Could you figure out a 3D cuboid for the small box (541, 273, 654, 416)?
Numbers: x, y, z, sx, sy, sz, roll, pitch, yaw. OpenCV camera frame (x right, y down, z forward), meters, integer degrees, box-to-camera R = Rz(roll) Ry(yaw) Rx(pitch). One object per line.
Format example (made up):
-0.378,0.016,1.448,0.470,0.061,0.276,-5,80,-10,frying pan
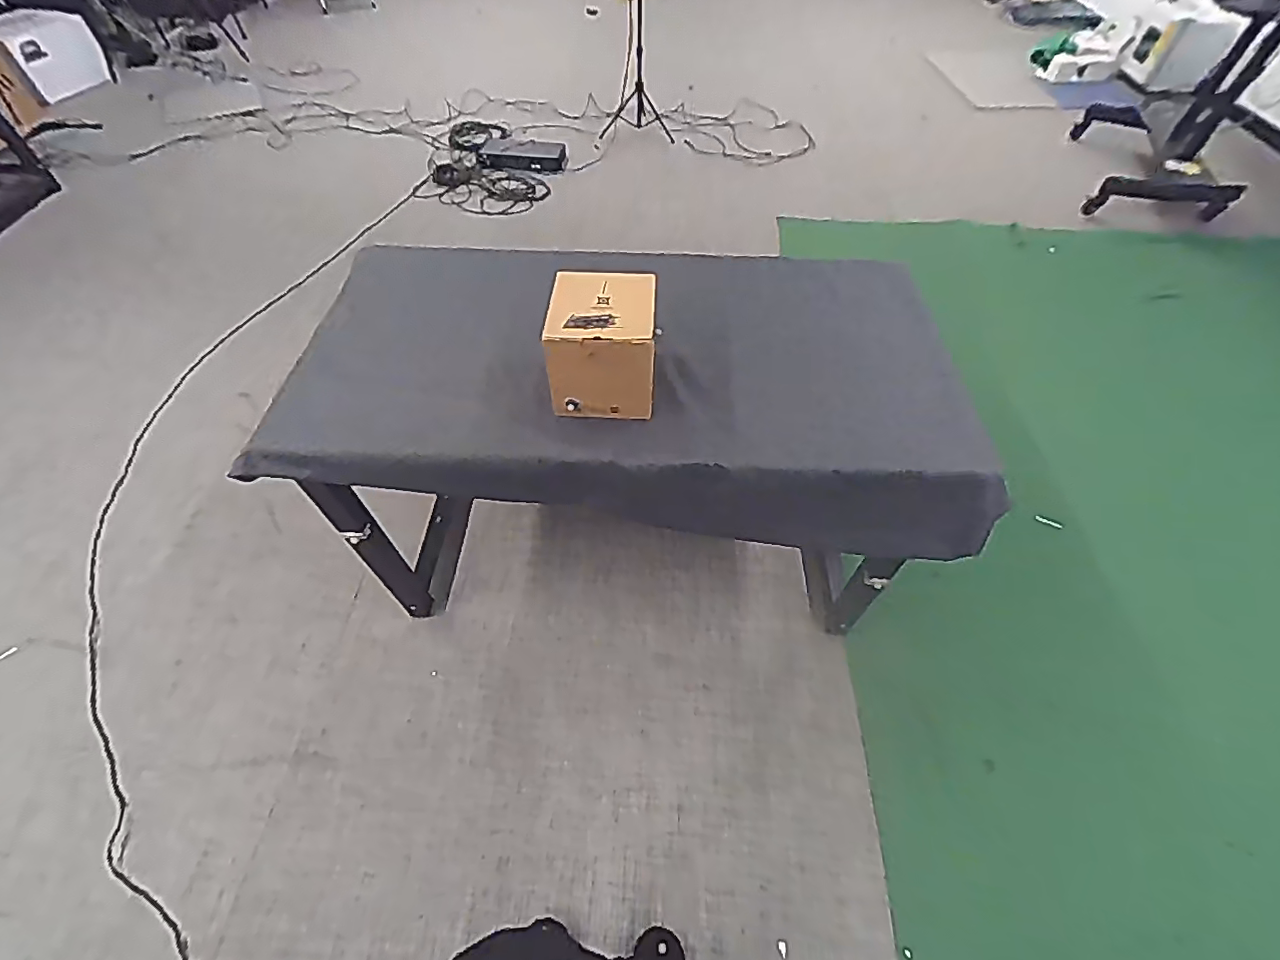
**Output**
-0.063,-0.226,0.917,0.168,0.176,0.179,3,52,1,small box
